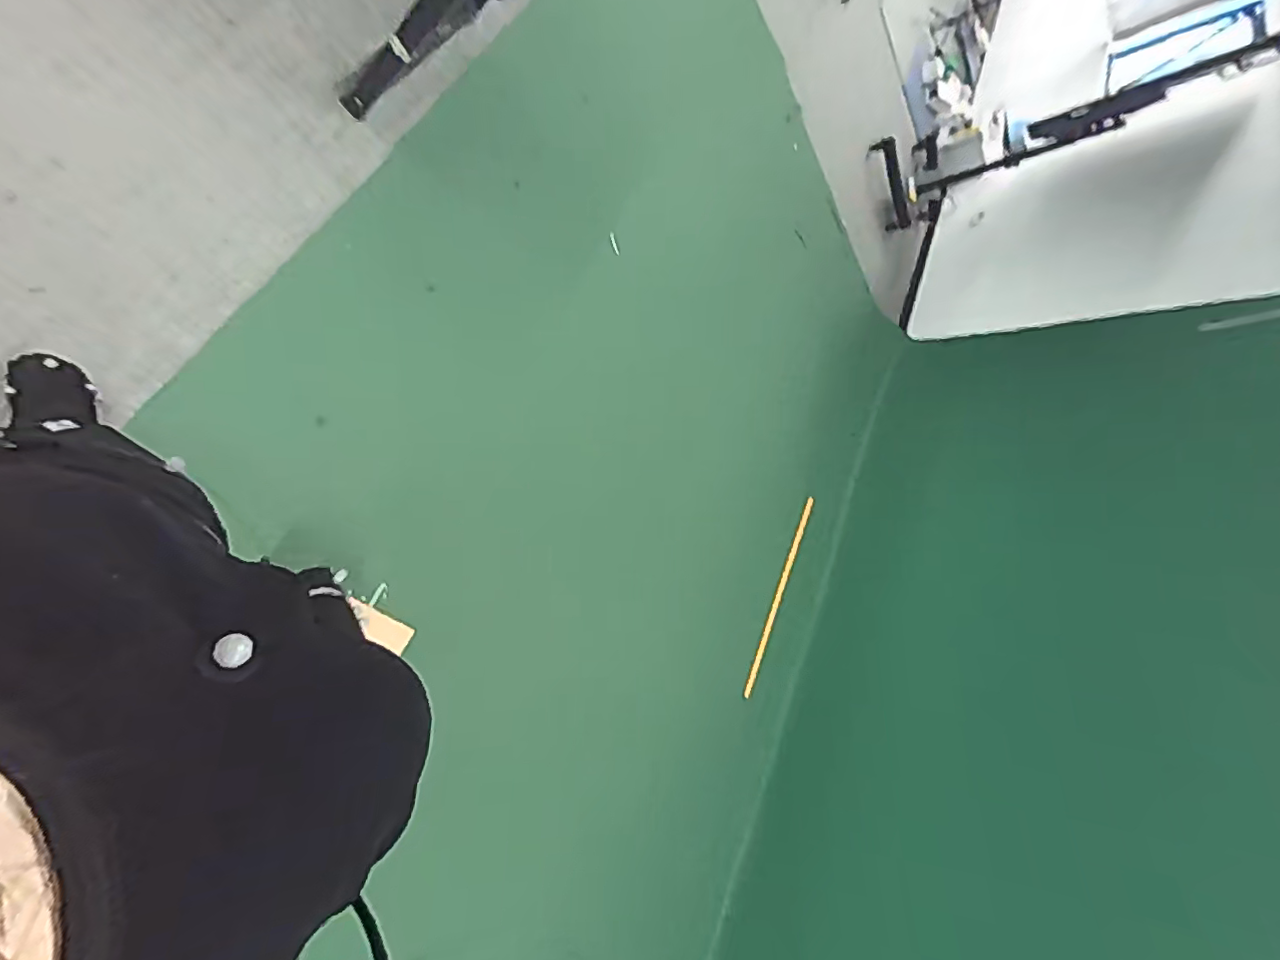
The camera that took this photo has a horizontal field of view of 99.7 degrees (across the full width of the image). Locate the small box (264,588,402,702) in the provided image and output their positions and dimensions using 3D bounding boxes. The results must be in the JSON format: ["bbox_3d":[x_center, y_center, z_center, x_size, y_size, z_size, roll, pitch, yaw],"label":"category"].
[{"bbox_3d":[-0.671,0.354,1.183,0.179,0.176,0.168,47,59,-37],"label":"small box"}]
